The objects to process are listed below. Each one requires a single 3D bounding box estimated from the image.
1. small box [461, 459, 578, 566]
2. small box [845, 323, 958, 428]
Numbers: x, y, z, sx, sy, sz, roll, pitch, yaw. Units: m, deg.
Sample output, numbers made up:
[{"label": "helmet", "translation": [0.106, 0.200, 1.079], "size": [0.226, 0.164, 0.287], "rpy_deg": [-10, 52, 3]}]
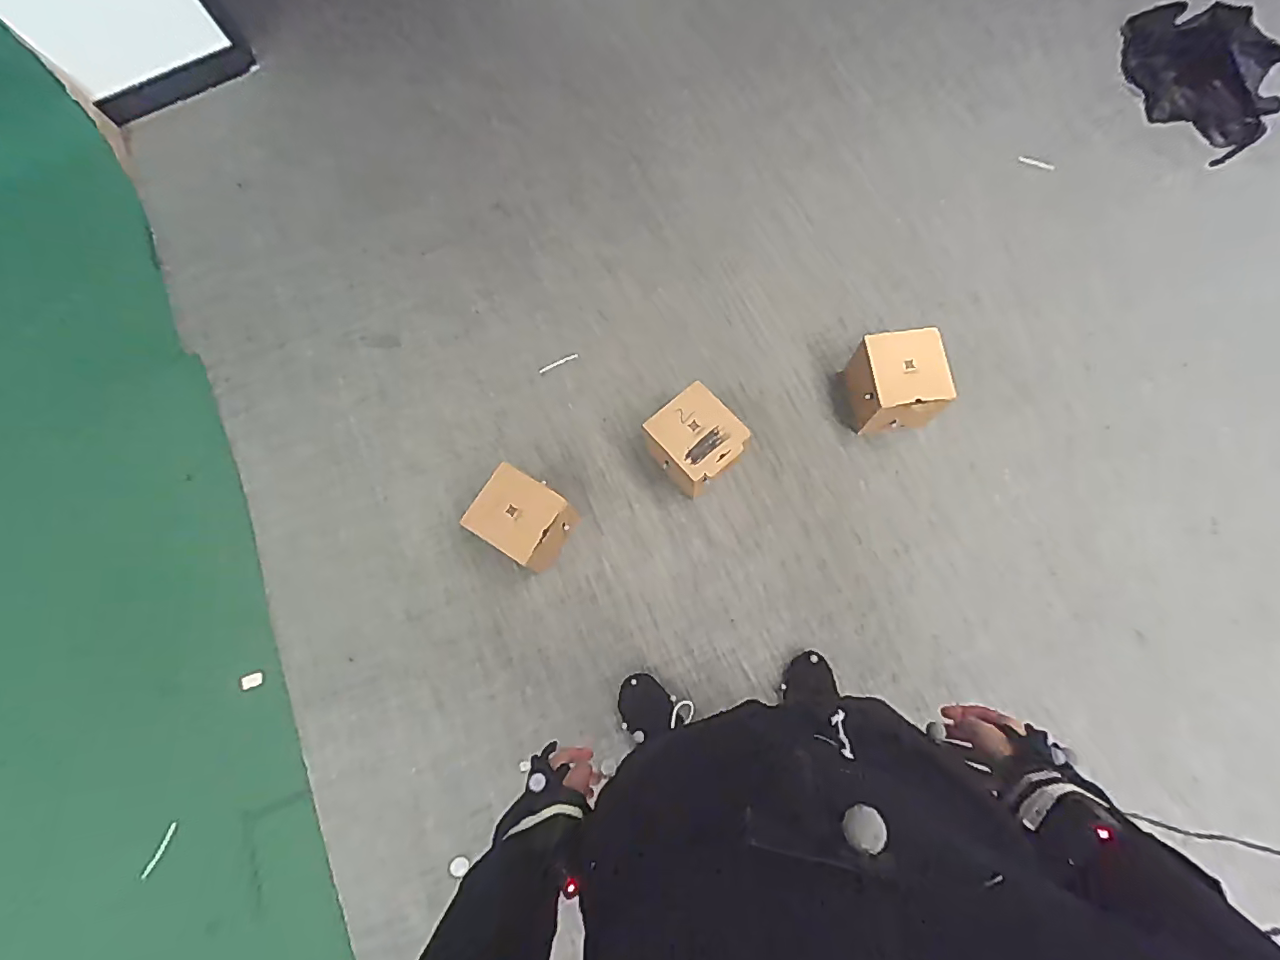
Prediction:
[{"label": "small box", "translation": [-0.260, 0.081, 1.219], "size": [0.179, 0.176, 0.168], "rpy_deg": [30, 78, 12]}, {"label": "small box", "translation": [0.591, -0.235, 1.247], "size": [0.168, 0.176, 0.179], "rpy_deg": [-7, 75, 2]}]
